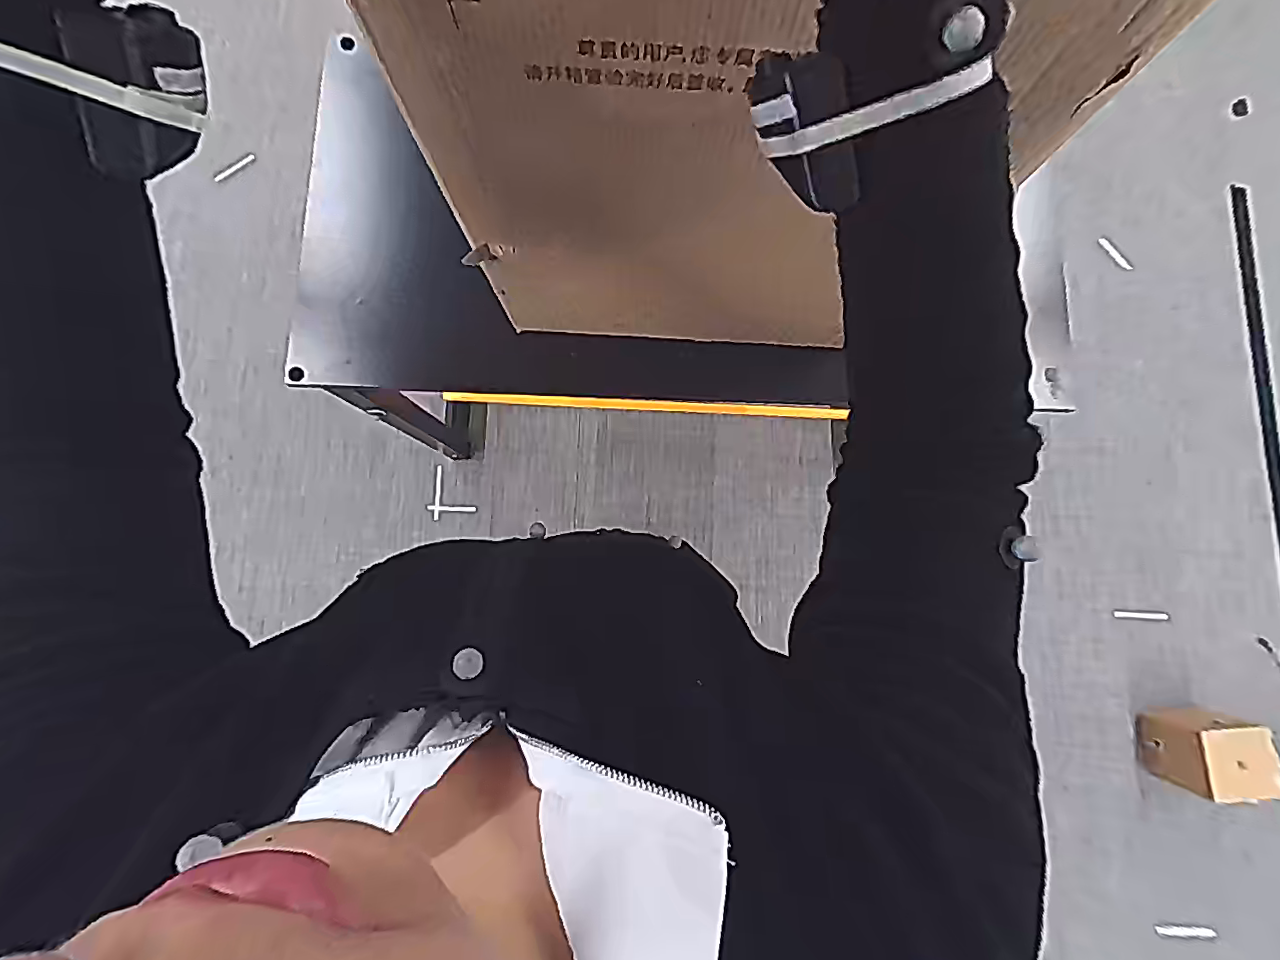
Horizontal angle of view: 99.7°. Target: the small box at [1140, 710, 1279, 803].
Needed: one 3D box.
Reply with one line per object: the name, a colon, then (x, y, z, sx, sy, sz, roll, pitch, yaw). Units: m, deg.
small box: (1.451, 0.699, 1.384, 0.179, 0.176, 0.168, -5, 81, 0)
